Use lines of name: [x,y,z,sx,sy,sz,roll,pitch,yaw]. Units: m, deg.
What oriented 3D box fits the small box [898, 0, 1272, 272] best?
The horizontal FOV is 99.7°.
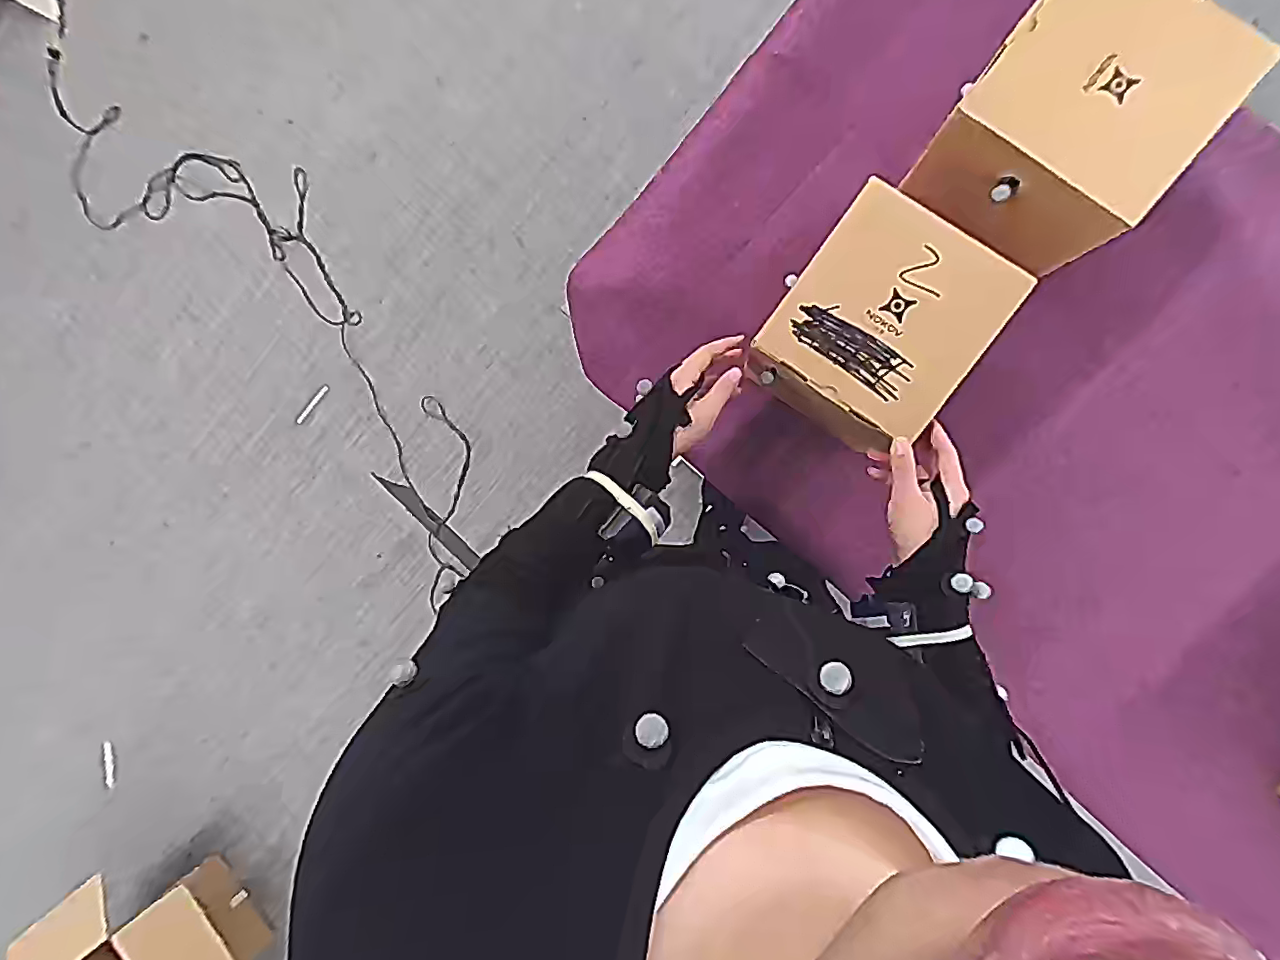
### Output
small box: [0.391,-0.326,0.518,0.179,0.176,0.168,39,97,5]
